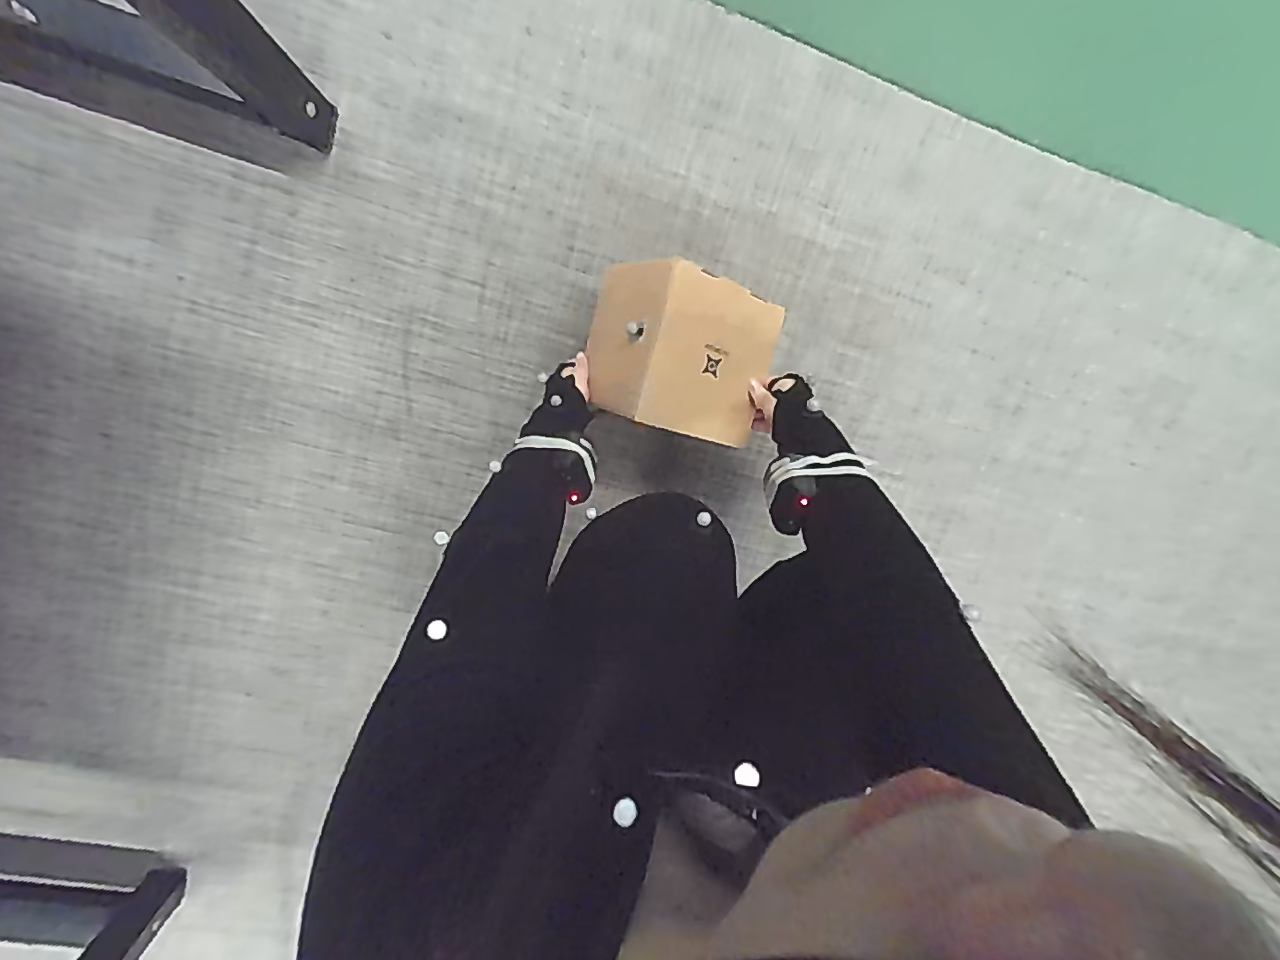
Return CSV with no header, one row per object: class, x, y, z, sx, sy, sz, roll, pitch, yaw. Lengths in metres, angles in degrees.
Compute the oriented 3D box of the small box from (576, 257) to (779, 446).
small box,0.036,-0.157,0.677,0.168,0.176,0.179,10,100,-34
